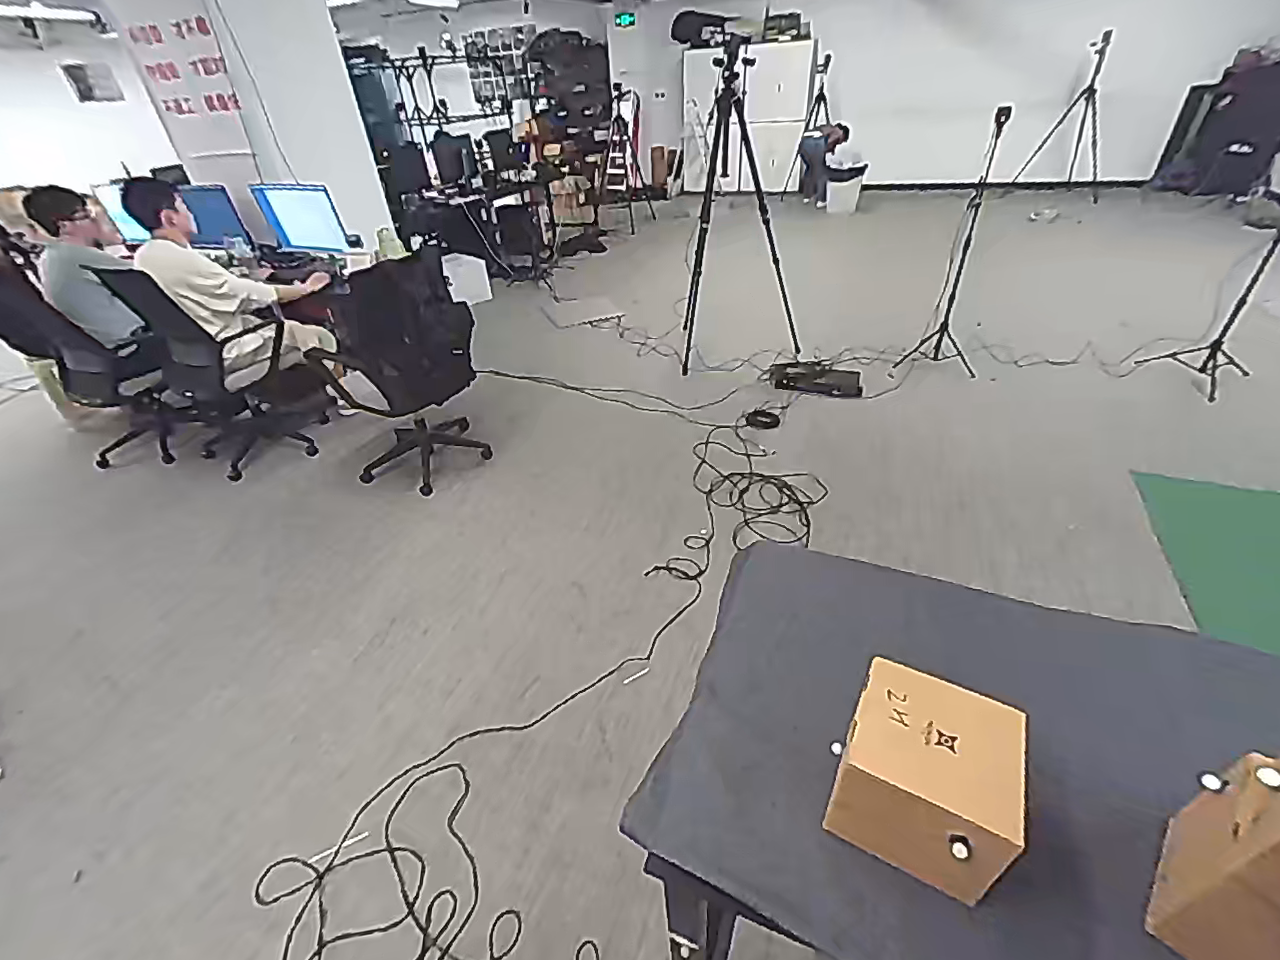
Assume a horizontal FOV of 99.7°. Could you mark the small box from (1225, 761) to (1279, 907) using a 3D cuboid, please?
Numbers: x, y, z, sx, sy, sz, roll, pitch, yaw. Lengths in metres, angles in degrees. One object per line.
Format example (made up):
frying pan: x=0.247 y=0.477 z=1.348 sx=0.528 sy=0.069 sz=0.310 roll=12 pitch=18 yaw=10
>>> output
small box: x=0.654 y=0.306 z=0.436 sx=0.168 sy=0.176 sz=0.179 roll=-25 pitch=40 yaw=-27

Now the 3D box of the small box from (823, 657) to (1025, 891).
small box: x=0.345 y=0.363 z=0.671 sx=0.179 sy=0.176 sz=0.168 roll=17 pitch=40 yaw=26
